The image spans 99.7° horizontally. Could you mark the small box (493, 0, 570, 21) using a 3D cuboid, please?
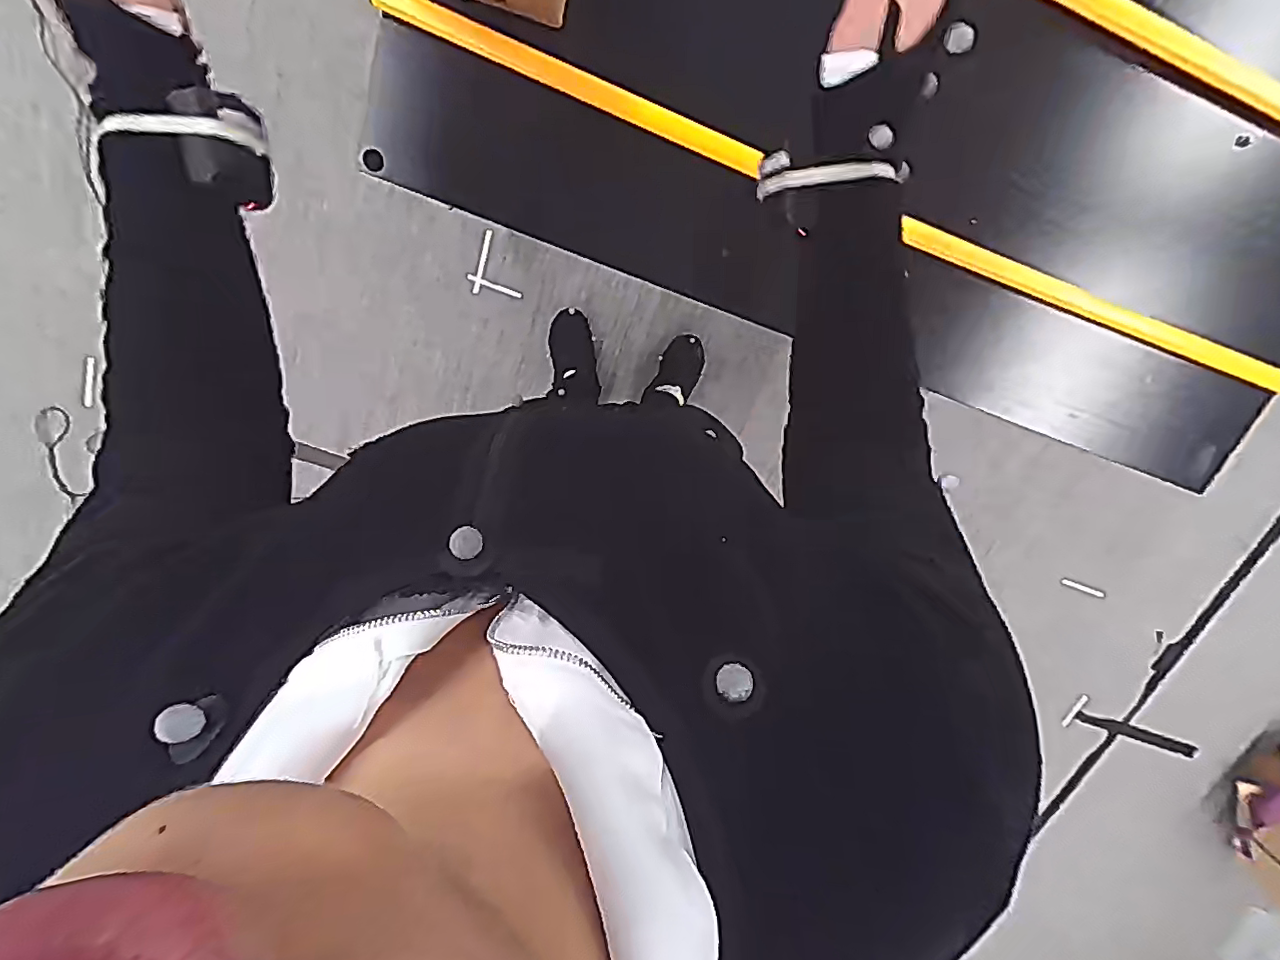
[{"bbox_3d":[-0.131,-0.558,0.467,0.168,0.176,0.179,15,110,-7],"label":"small box"}]
